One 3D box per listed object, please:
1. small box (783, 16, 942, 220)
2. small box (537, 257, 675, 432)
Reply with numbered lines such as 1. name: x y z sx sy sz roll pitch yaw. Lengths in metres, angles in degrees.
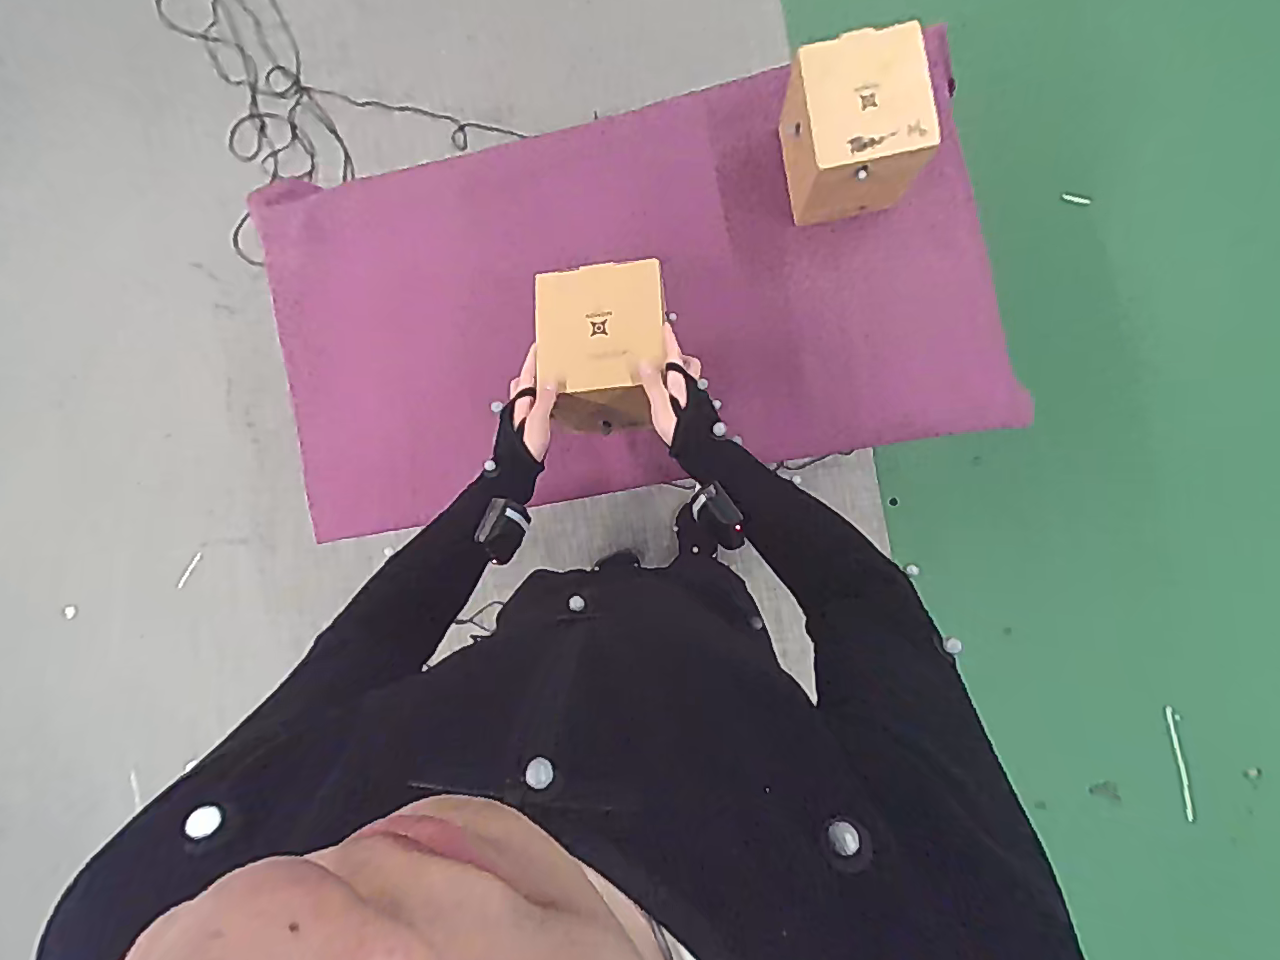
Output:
1. small box: 0.319 -0.527 0.810 0.168 0.176 0.179 -9 89 6
2. small box: -0.040 -0.179 0.755 0.168 0.176 0.179 -4 77 6
